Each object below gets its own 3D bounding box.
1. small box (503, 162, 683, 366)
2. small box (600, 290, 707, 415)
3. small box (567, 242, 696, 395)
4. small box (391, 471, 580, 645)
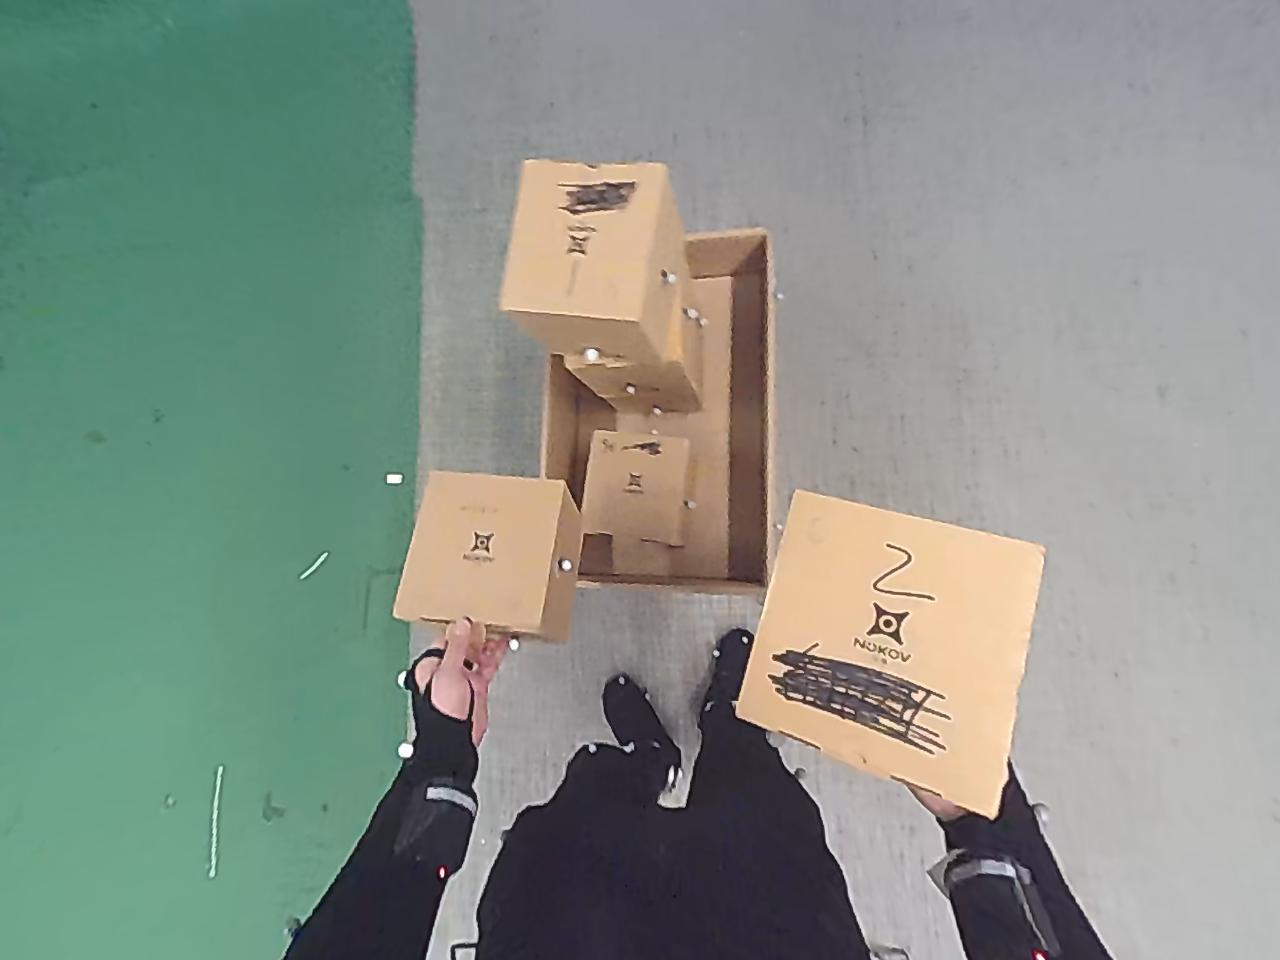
[{"bbox_3d":[-0.046,-0.258,0.674,0.168,0.176,0.179,9,87,13],"label":"small box"},{"bbox_3d":[0.030,-0.224,0.989,0.168,0.176,0.179,0,84,13],"label":"small box"},{"bbox_3d":[-0.006,-0.238,0.832,0.168,0.176,0.179,-1,85,12],"label":"small box"},{"bbox_3d":[-0.176,0.106,0.682,0.168,0.176,0.179,4,67,6],"label":"small box"}]
